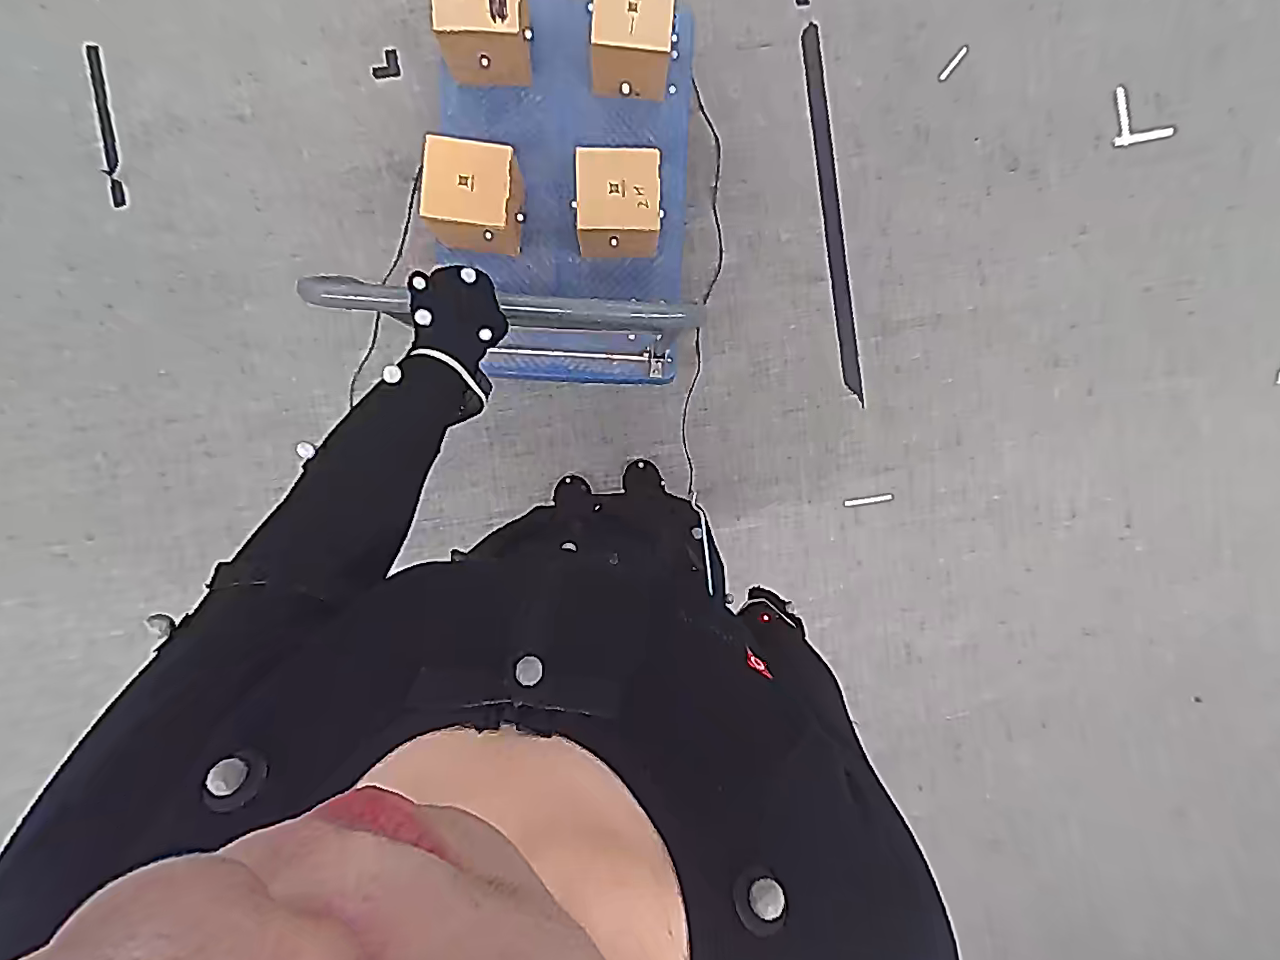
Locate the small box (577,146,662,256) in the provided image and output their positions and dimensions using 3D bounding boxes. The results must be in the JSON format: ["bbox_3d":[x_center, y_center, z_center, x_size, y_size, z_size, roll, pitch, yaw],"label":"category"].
[{"bbox_3d":[-0.045,-0.605,1.191,0.179,0.176,0.168,0,94,-3],"label":"small box"}]

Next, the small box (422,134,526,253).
[{"bbox_3d":[-0.354,-0.612,1.176,0.179,0.176,0.168,5,93,-5],"label":"small box"}]

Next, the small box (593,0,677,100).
[{"bbox_3d":[-0.013,-0.972,1.170,0.168,0.176,0.179,4,94,-3],"label":"small box"}]
